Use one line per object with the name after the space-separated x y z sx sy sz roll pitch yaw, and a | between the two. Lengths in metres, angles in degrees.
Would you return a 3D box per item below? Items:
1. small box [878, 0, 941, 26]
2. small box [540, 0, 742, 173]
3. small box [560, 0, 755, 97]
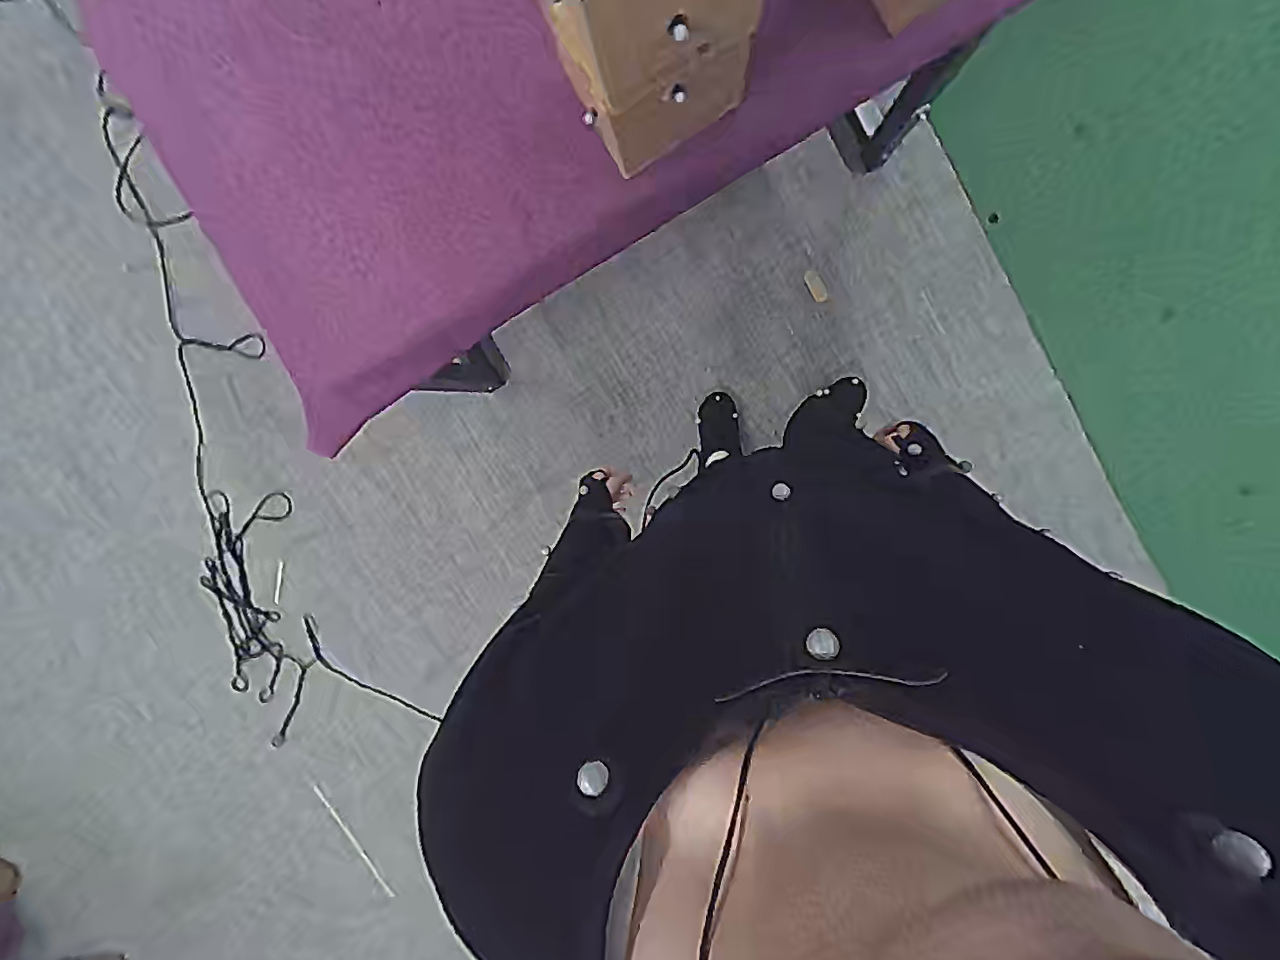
0.333 -0.647 0.568 0.179 0.176 0.168 -31 94 9 | small box
0.009 -0.501 0.627 0.179 0.176 0.168 -28 94 9 | small box
-0.001 -0.478 0.465 0.168 0.176 0.179 -26 94 9 | small box
